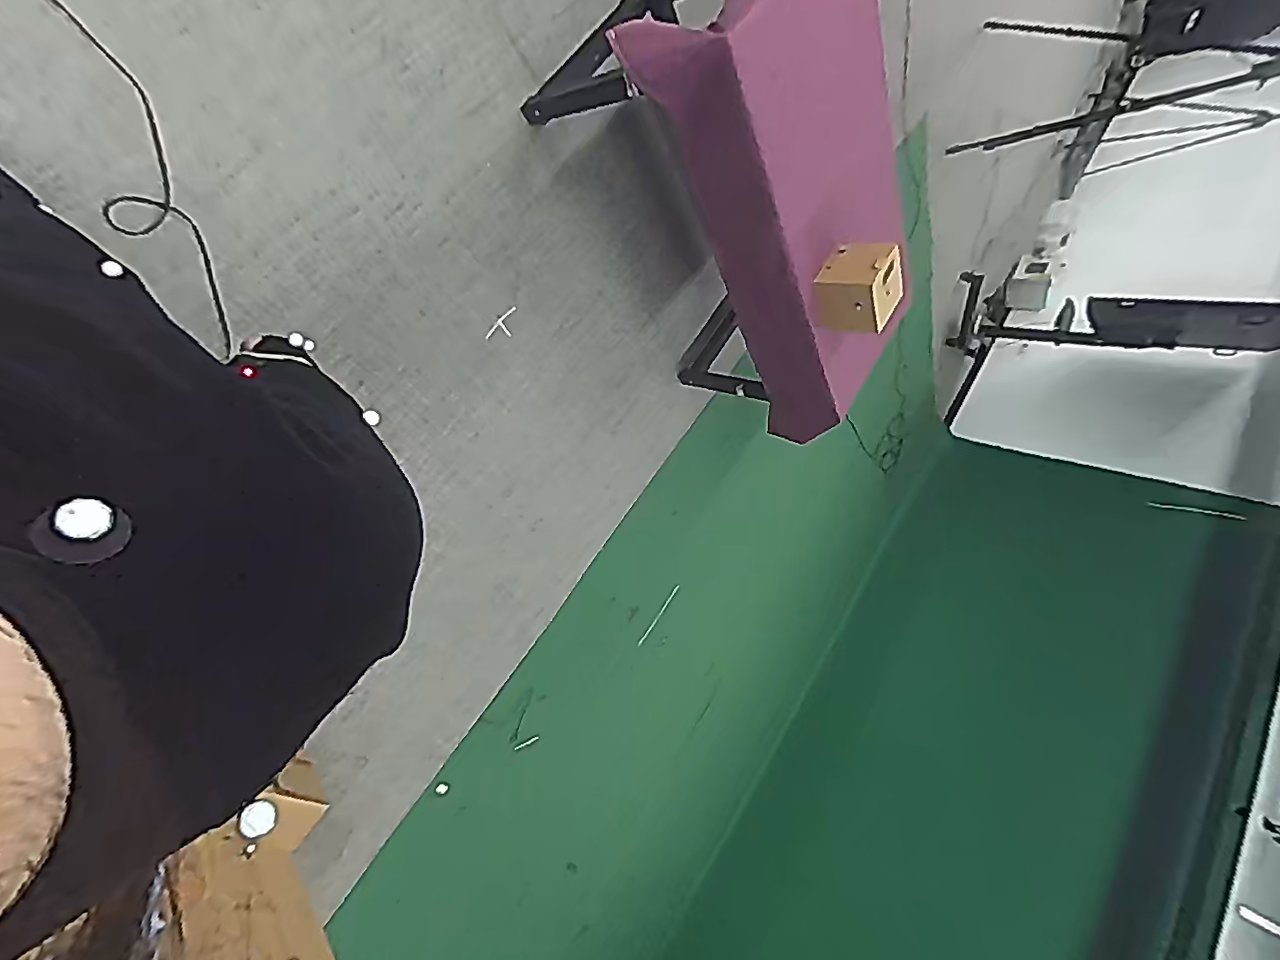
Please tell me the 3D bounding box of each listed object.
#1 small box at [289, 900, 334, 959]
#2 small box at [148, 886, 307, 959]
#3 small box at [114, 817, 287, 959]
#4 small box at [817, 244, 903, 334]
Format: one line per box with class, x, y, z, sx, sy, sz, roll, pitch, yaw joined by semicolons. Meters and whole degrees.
small box;-0.764;0.982;1.080;0.168;0.176;0.179;-53;139;-13
small box;-0.659;0.792;0.849;0.179;0.176;0.168;-52;137;-17
small box;-0.775;0.746;0.956;0.179;0.176;0.168;-52;136;-18
small box;0.618;-0.538;1.523;0.168;0.176;0.179;-54;139;-16
